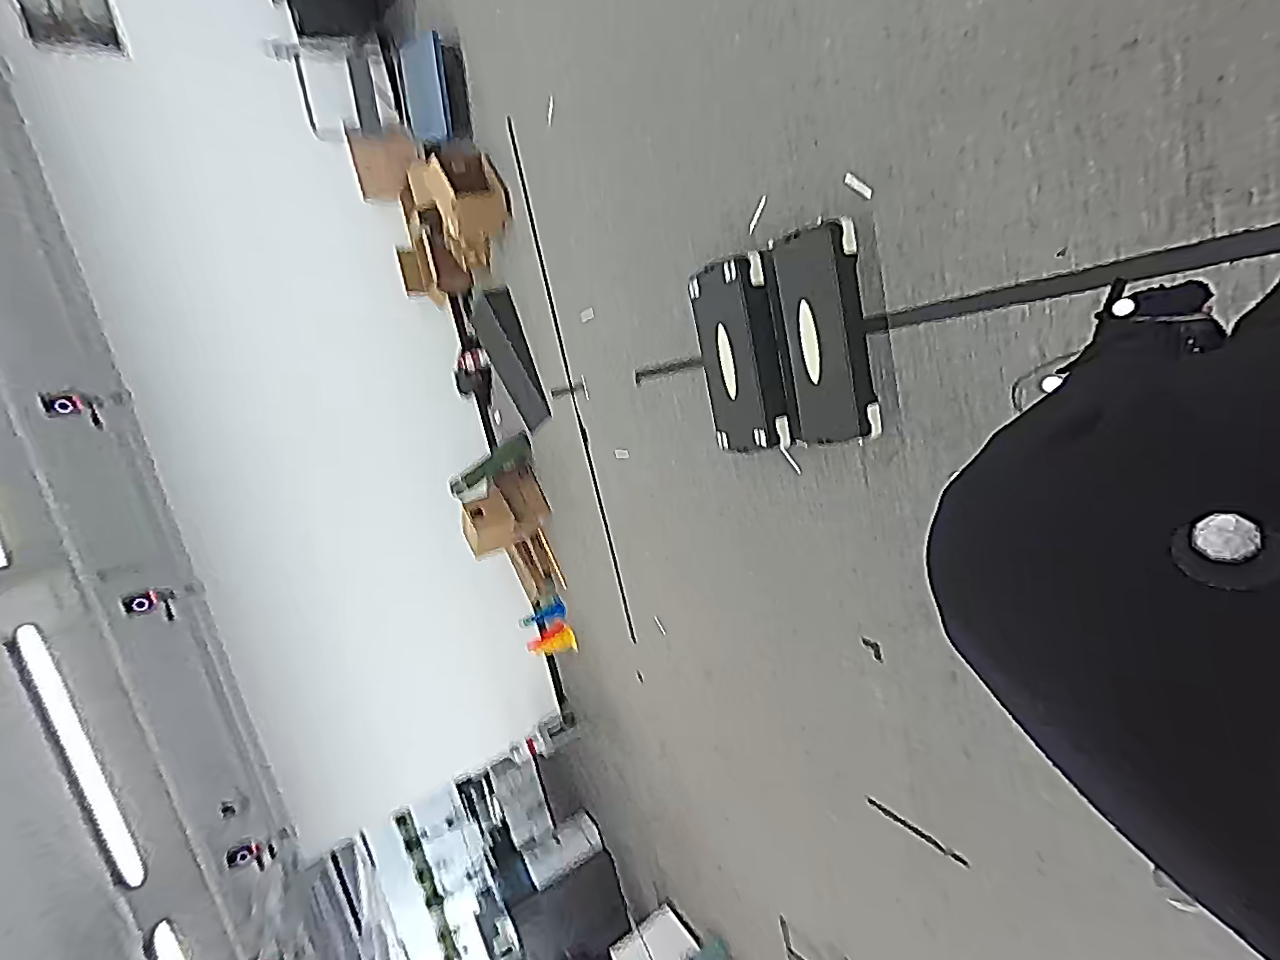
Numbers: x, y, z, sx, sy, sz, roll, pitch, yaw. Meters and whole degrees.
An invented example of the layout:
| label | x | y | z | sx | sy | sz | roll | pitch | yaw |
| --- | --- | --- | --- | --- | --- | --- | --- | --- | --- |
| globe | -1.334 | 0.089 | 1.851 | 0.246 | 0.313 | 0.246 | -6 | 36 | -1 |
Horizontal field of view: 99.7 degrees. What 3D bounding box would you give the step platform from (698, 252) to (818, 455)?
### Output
| label | x | y | z | sx | sy | sz | roll | pitch | yaw |
| --- | --- | --- | --- | --- | --- | --- | --- | --- | --- |
| step platform | 0.412 | -0.429 | 1.917 | 0.286 | 0.204 | 0.684 | 2 | 107 | 59 |
